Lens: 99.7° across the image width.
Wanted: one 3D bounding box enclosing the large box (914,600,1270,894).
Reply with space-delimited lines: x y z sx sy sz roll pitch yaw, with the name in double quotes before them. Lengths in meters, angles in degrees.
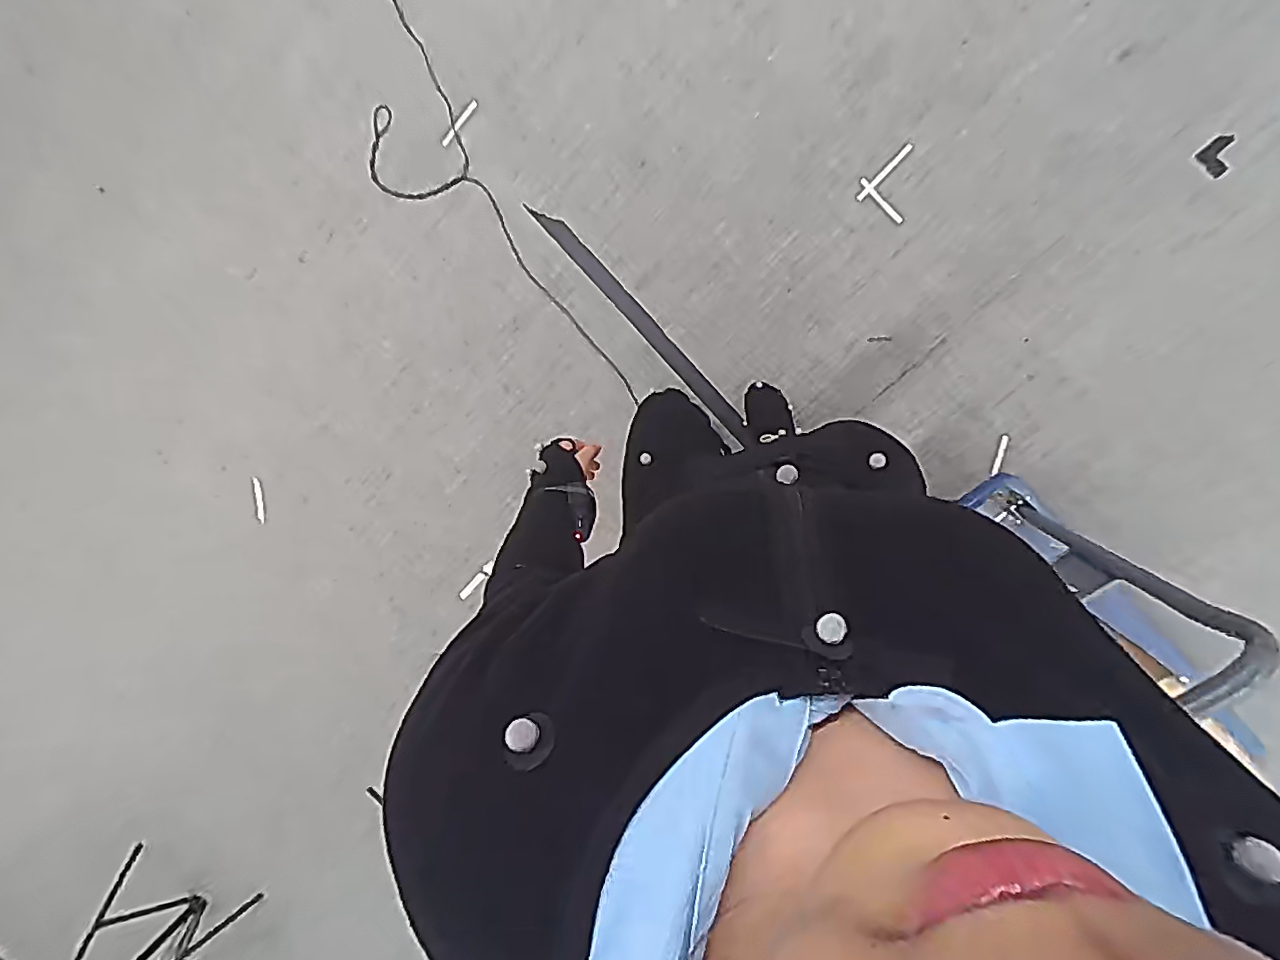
"large box" 0.875 0.529 1.124 0.408 0.320 0.320 -40 92 15
